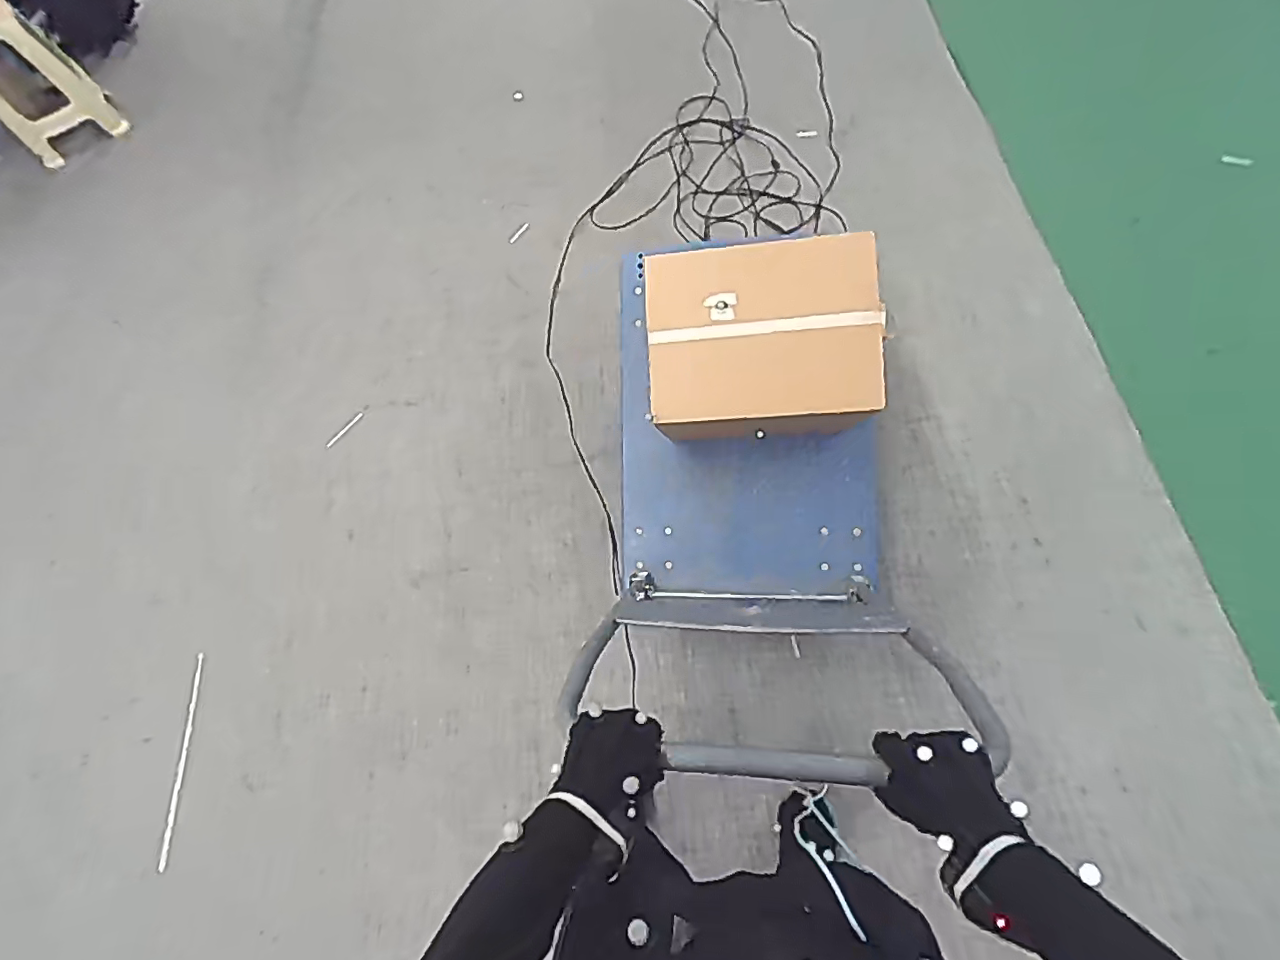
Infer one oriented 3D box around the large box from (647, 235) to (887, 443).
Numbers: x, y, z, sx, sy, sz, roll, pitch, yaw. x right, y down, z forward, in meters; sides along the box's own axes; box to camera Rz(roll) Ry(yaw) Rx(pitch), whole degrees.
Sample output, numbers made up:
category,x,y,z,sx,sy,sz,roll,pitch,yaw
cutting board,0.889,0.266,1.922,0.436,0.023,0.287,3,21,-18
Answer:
category,x,y,z,sx,sy,sz,roll,pitch,yaw
large box,0.245,-0.252,1.101,0.408,0.320,0.320,-3,87,11
